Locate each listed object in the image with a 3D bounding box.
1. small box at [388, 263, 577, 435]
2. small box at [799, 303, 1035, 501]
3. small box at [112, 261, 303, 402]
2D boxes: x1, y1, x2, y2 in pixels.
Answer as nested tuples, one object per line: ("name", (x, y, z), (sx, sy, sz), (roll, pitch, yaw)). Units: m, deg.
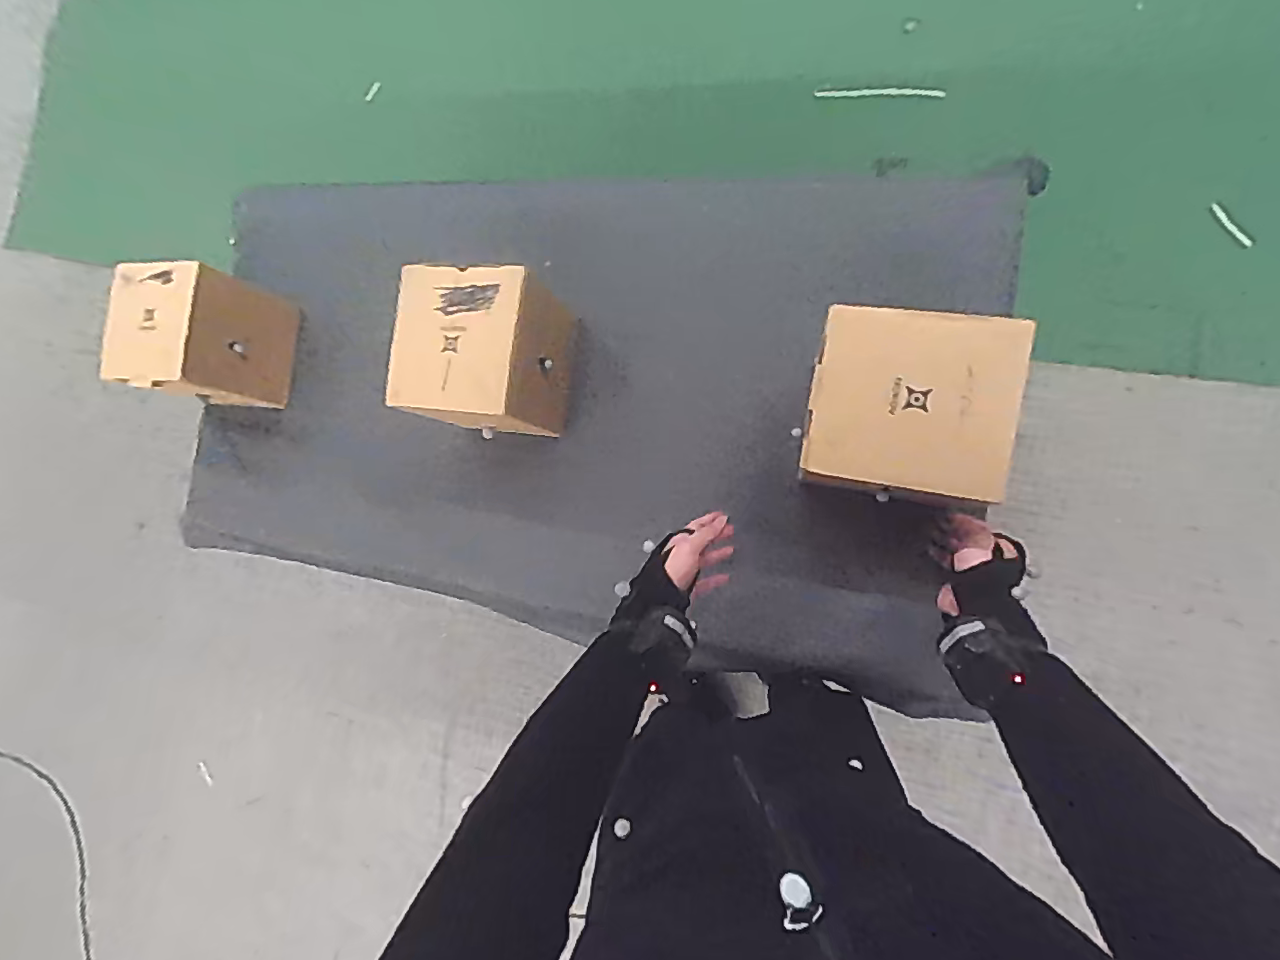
("small box", (-0.194, -0.164, 0.711), (0.168, 0.176, 0.179), (7, 89, 17))
("small box", (0.271, -0.072, 0.571), (0.179, 0.176, 0.168), (10, 90, 16))
("small box", (-0.669, -0.223, 0.852), (0.168, 0.176, 0.179), (5, 88, 16))
